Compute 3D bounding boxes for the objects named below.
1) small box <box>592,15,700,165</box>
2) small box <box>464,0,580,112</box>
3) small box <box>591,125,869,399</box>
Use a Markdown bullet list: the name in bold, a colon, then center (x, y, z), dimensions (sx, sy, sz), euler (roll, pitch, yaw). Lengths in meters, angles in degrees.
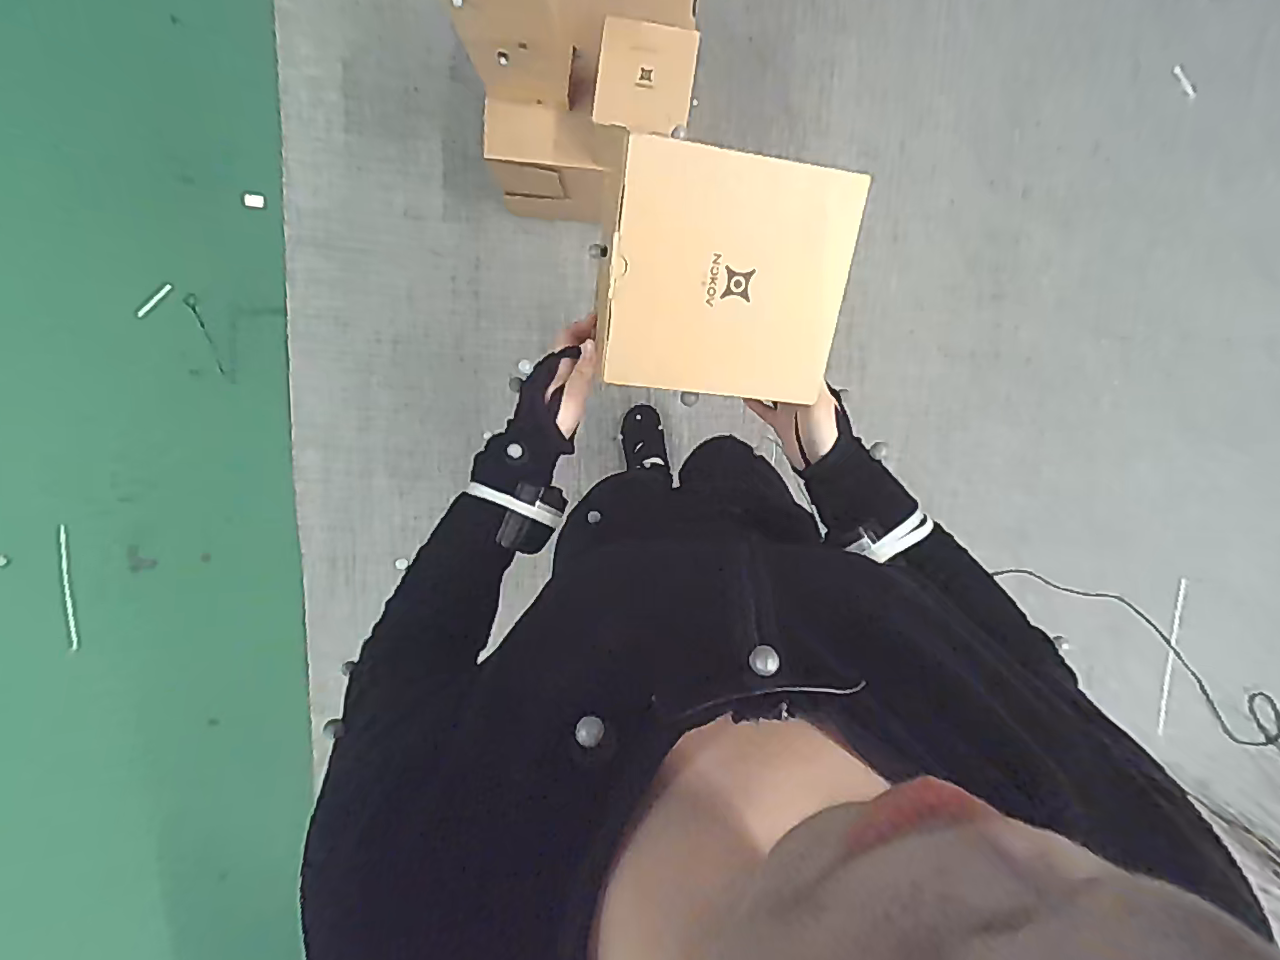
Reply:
- **small box**: center (0.008, -0.696, 1.002), dimensions (0.168, 0.176, 0.179), euler (8, 95, -3)
- **small box**: center (-0.206, -0.821, 0.986), dimensions (0.168, 0.176, 0.179), euler (8, 95, -1)
- **small box**: center (0.054, -0.174, 0.461), dimensions (0.179, 0.176, 0.168), euler (5, 109, -8)
